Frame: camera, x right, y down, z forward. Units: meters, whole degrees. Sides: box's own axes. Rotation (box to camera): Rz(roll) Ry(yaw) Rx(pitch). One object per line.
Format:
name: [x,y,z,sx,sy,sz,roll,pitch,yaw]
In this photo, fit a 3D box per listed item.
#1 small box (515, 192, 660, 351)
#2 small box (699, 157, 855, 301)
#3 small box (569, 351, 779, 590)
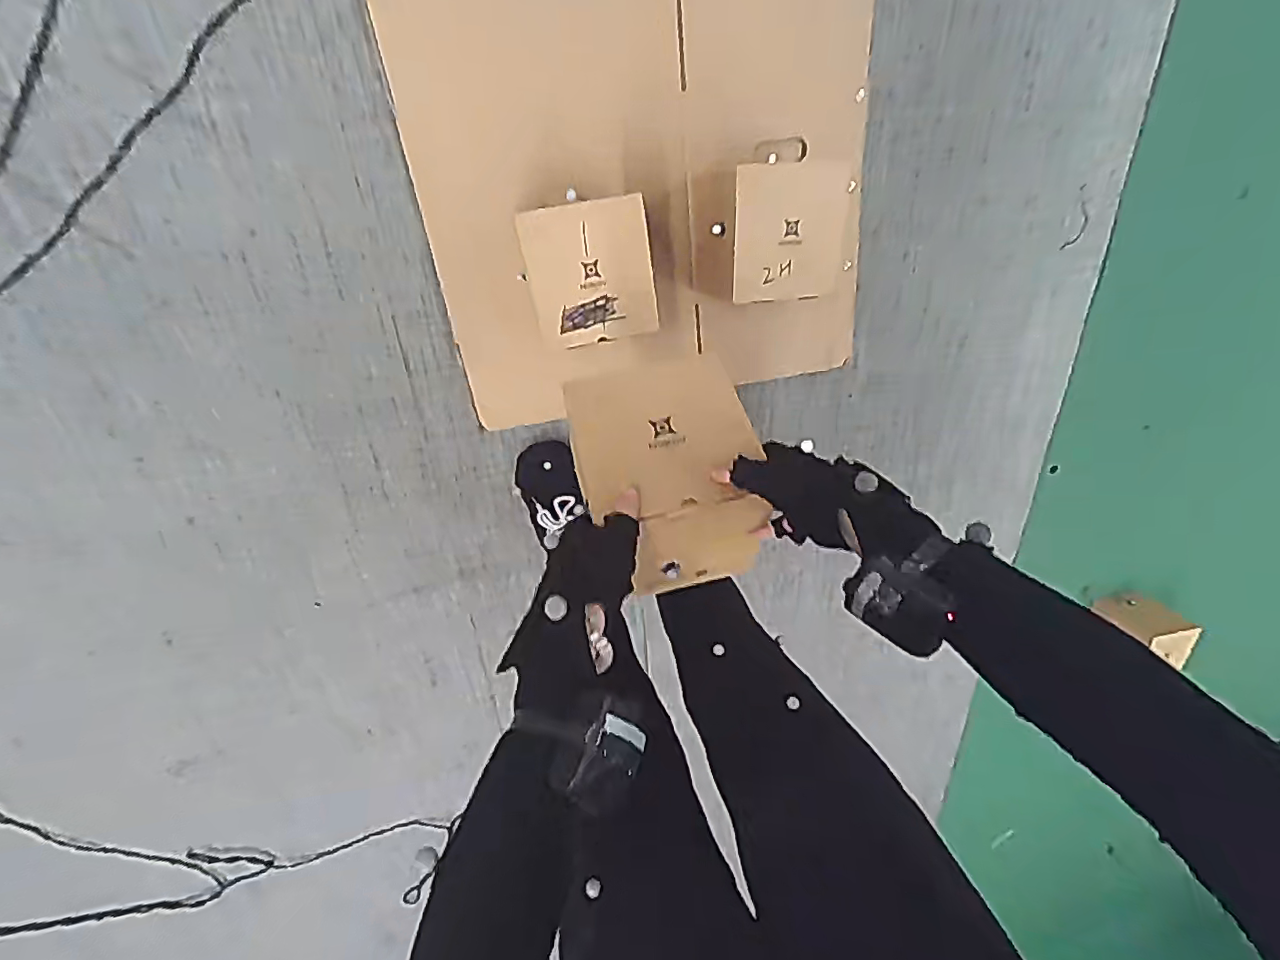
small box: [-0.077,-0.302,0.772,0.168,0.176,0.179,-13,118,-7]
small box: [0.191,-0.373,0.808,0.168,0.176,0.179,-7,118,-10]
small box: [0.024,-0.007,0.575,0.168,0.179,0.176,-12,147,-8]
